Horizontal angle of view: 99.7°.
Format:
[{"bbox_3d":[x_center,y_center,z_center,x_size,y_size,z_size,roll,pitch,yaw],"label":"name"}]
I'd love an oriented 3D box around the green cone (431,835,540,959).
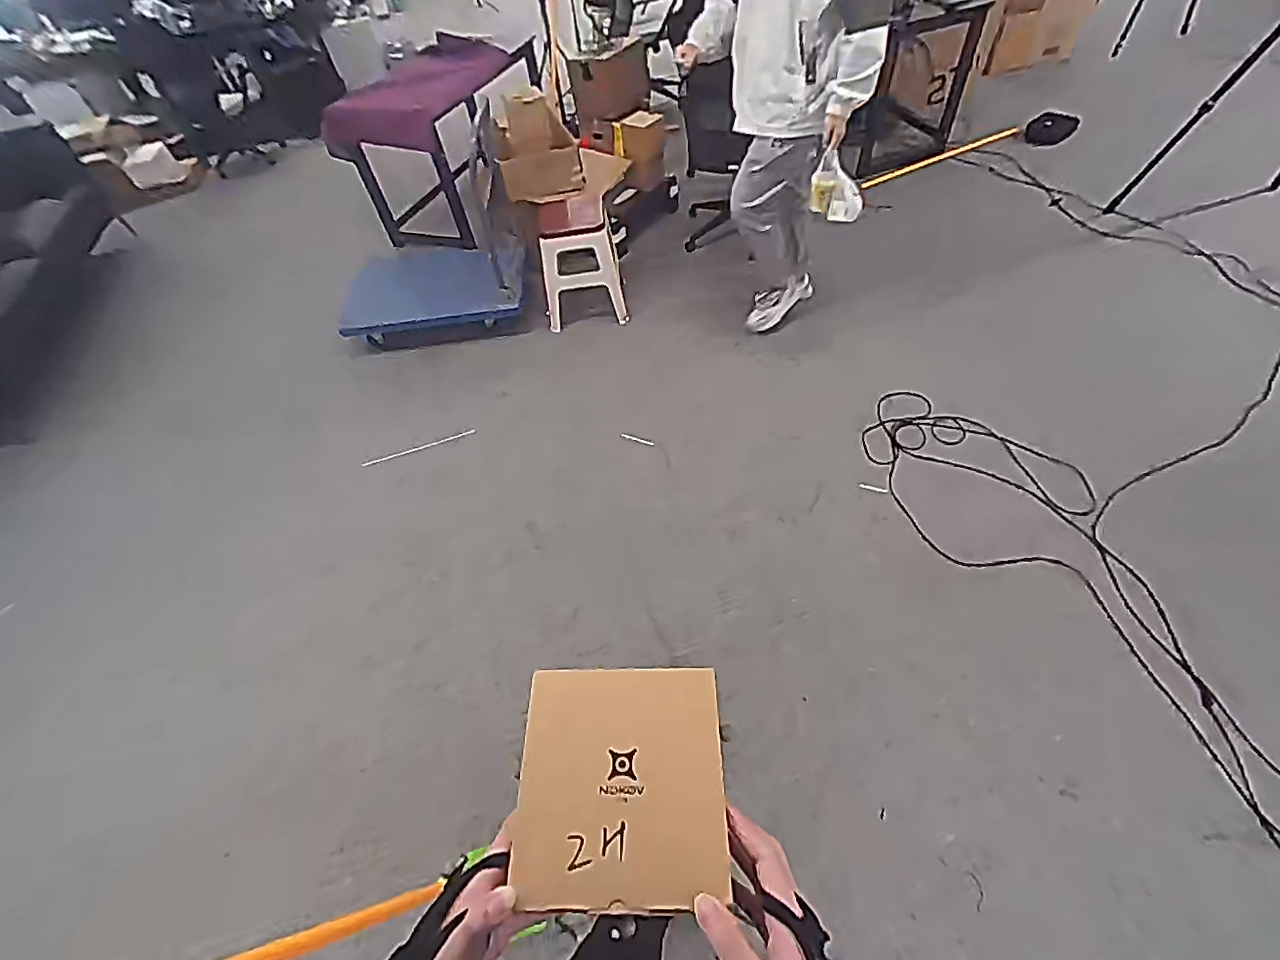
[{"bbox_3d":[-0.354,0.863,1.126,0.202,0.368,0.200,-15,52,-7],"label":"green cone"}]
